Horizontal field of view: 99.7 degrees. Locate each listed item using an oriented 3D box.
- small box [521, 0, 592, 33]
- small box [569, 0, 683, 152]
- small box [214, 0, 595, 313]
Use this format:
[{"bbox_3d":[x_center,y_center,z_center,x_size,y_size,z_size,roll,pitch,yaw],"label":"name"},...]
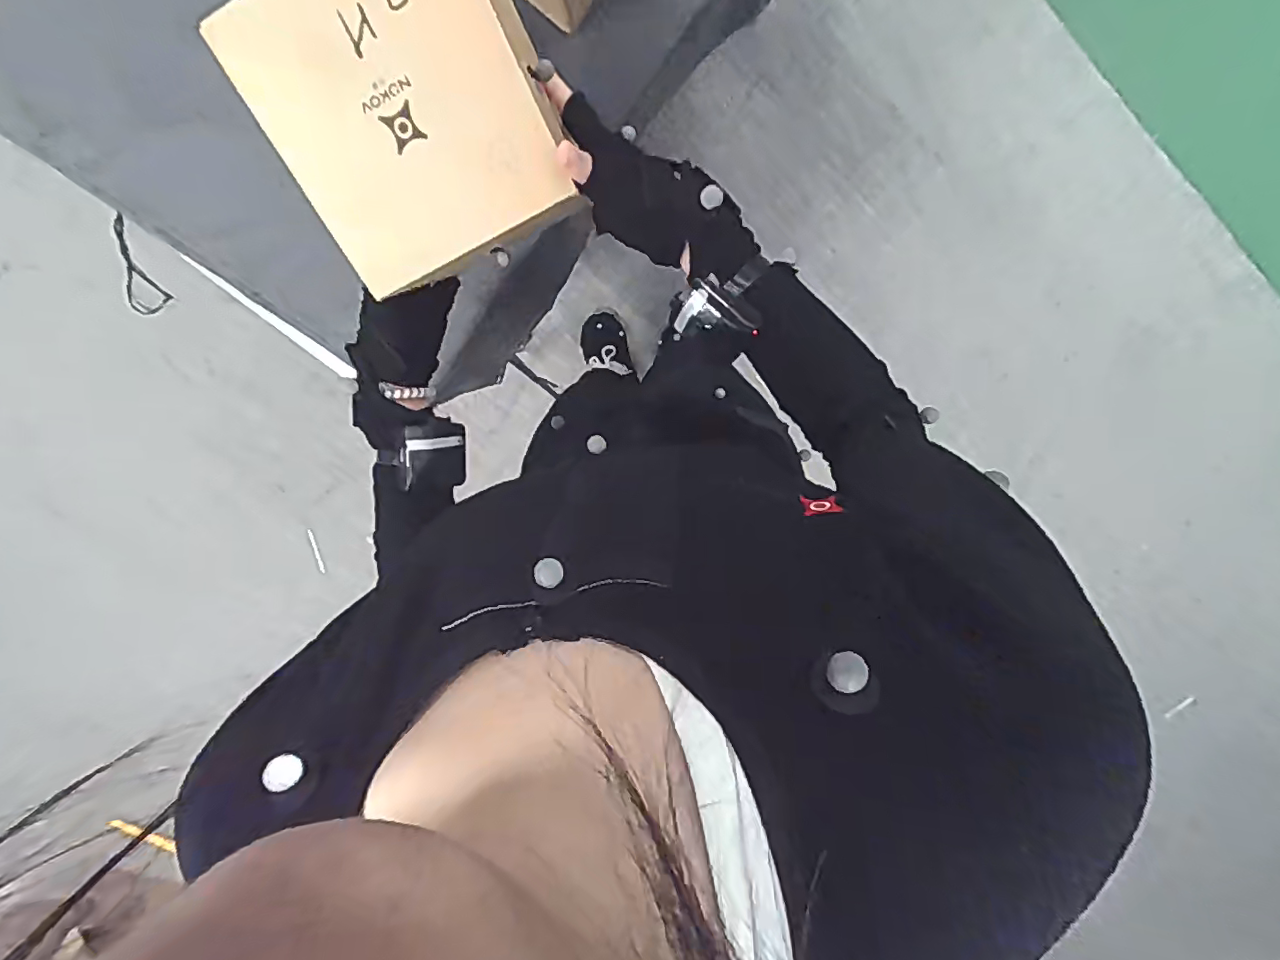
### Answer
[{"bbox_3d":[-0.097,-0.567,0.485,0.168,0.176,0.179,34,106,-10],"label":"small box"},{"bbox_3d":[-0.029,-0.848,1.154,0.168,0.176,0.179,36,106,-11],"label":"small box"},{"bbox_3d":[-0.145,-0.254,0.411,0.168,0.176,0.179,-22,114,11],"label":"small box"}]
